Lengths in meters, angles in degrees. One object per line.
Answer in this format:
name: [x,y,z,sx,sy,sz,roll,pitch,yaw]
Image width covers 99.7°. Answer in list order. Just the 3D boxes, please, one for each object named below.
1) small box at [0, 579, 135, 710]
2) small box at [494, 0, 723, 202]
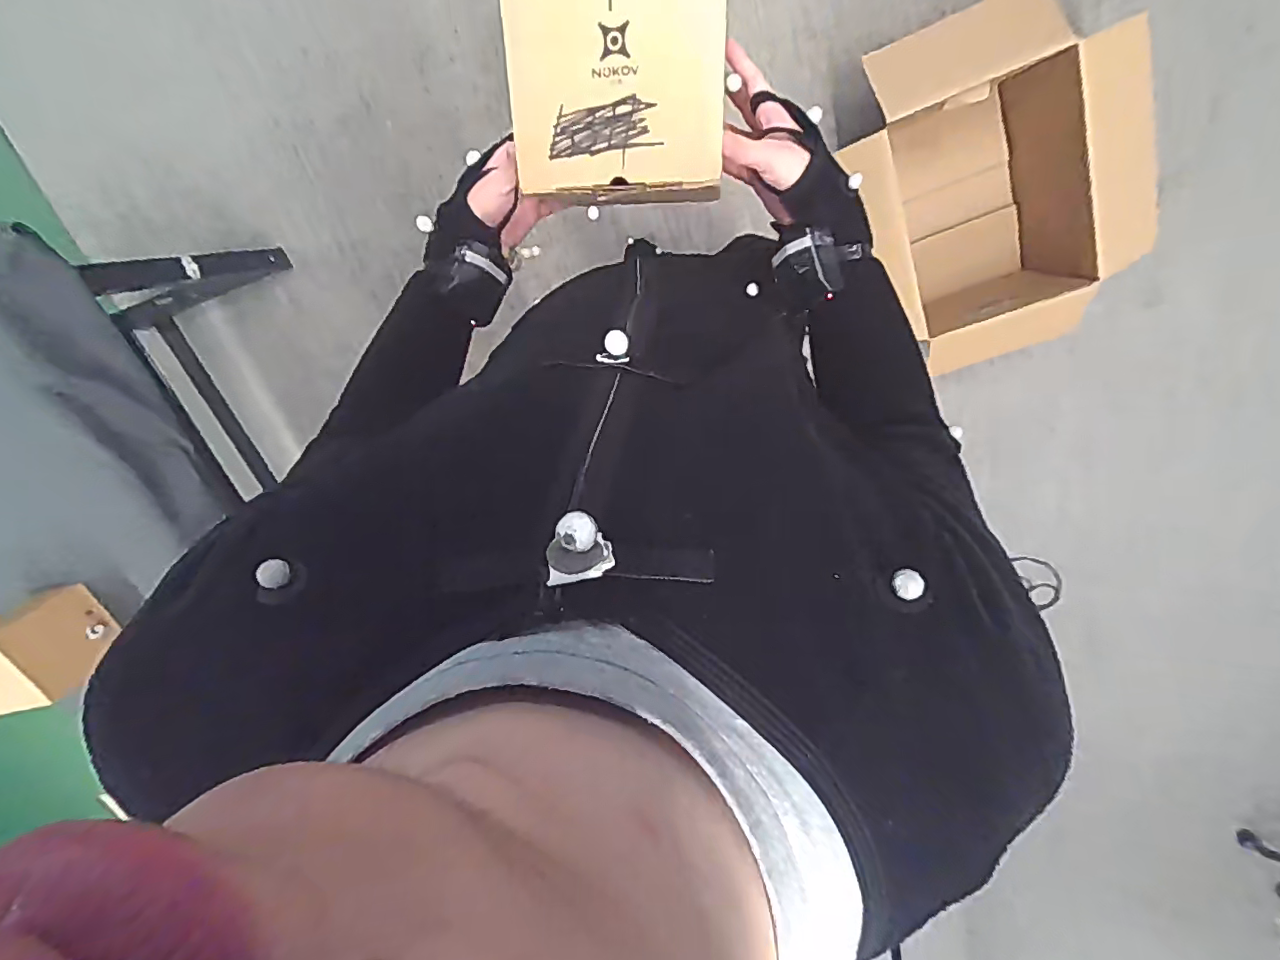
small box: [-1.186,0.322,1.076,0.179,0.176,0.168,-15,115,13]
small box: [-0.014,-0.344,0.469,0.168,0.176,0.179,1,113,7]
